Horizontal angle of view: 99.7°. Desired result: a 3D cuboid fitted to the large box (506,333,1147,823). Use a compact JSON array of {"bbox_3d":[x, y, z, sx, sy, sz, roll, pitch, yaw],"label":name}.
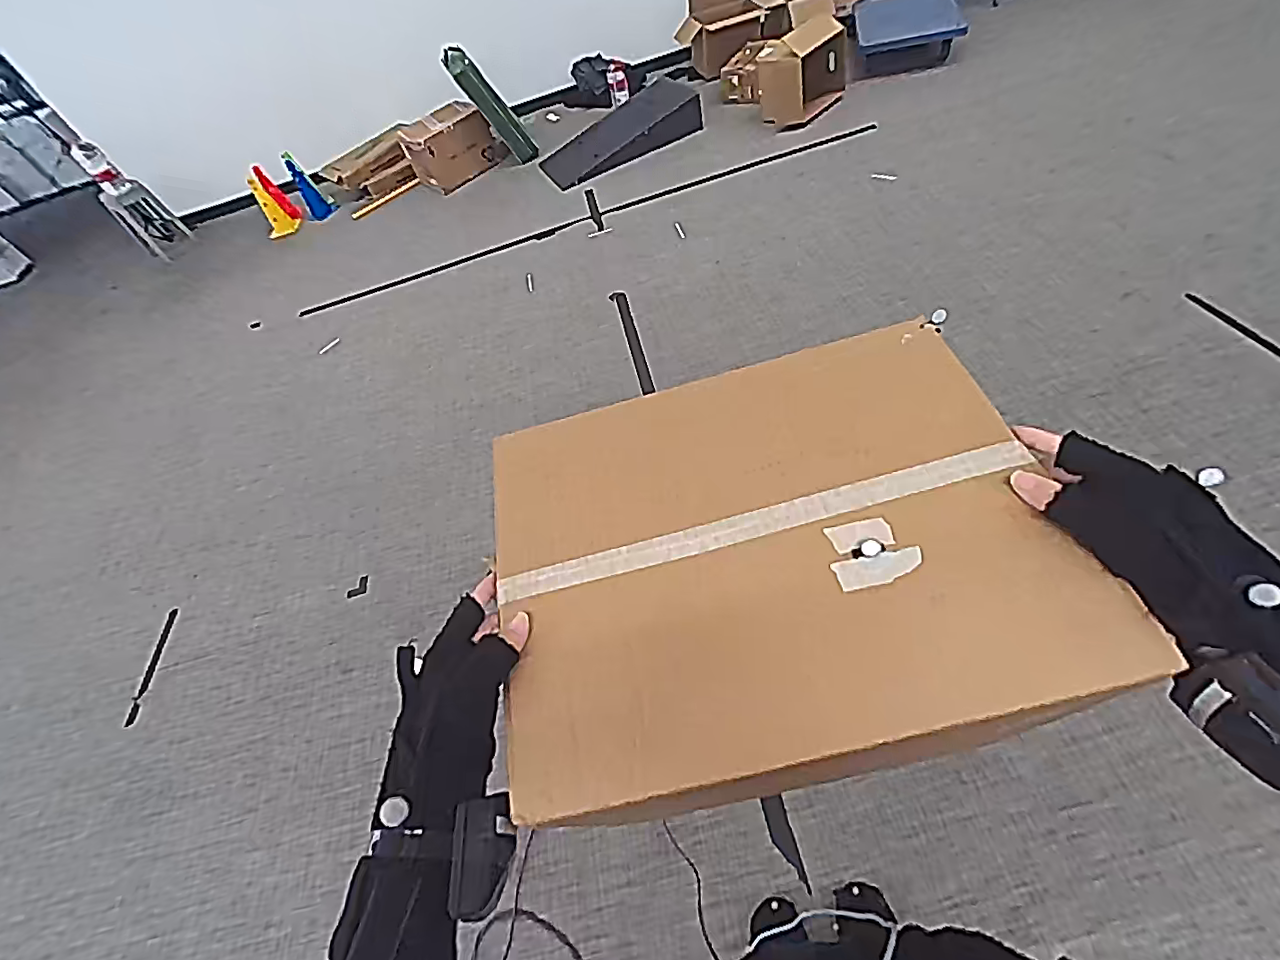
[{"bbox_3d":[0.118,0.119,0.542,0.408,0.320,0.320,-15,56,3],"label":"large box"}]
